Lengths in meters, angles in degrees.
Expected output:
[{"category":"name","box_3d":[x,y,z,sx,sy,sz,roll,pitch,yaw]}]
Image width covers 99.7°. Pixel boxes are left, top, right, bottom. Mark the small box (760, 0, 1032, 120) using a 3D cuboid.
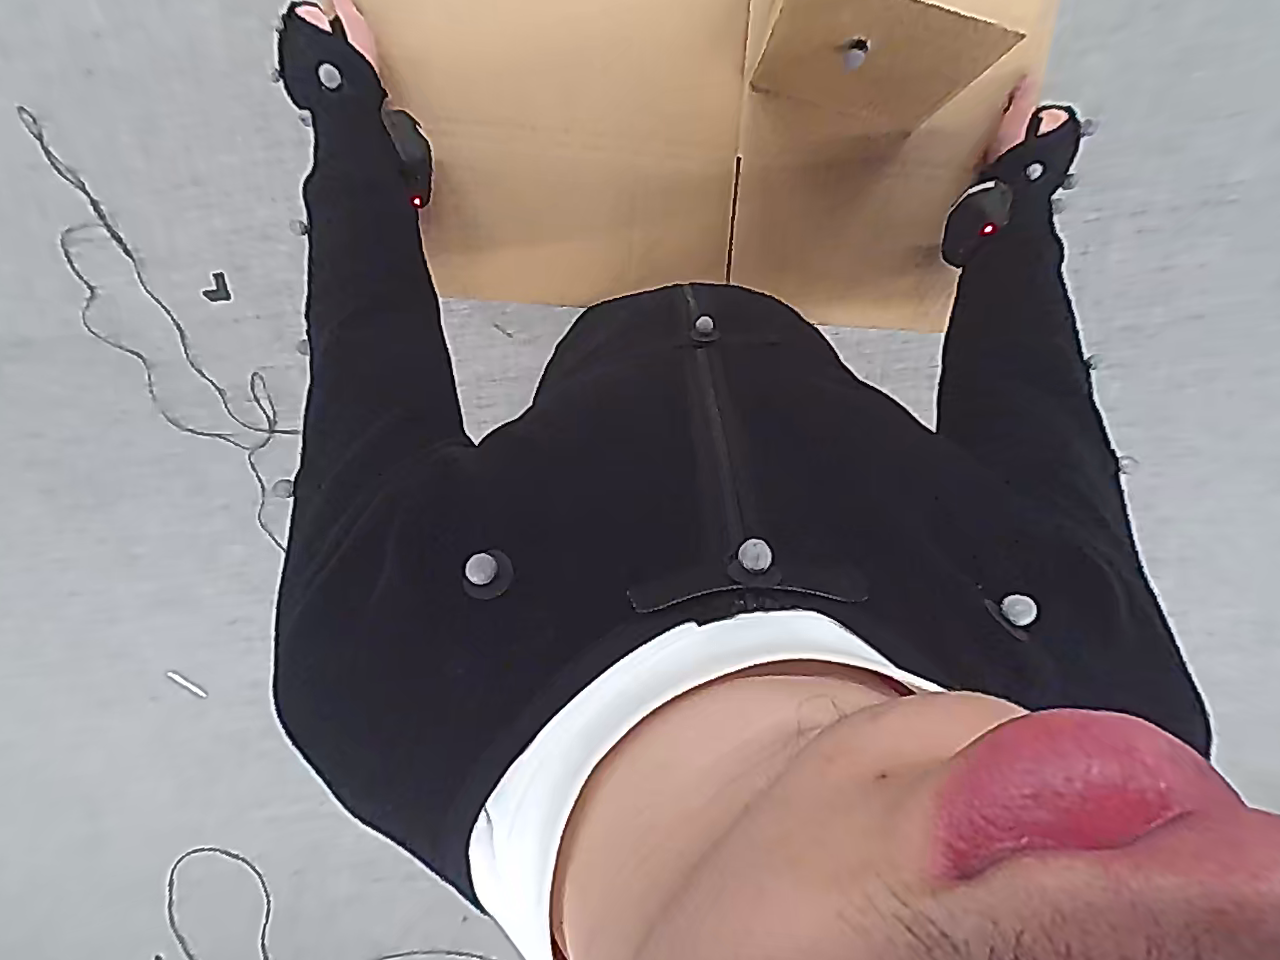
[{"category":"small box","box_3d":[0.215,-0.439,0.453,0.179,0.176,0.168,14,102,-2]}]
